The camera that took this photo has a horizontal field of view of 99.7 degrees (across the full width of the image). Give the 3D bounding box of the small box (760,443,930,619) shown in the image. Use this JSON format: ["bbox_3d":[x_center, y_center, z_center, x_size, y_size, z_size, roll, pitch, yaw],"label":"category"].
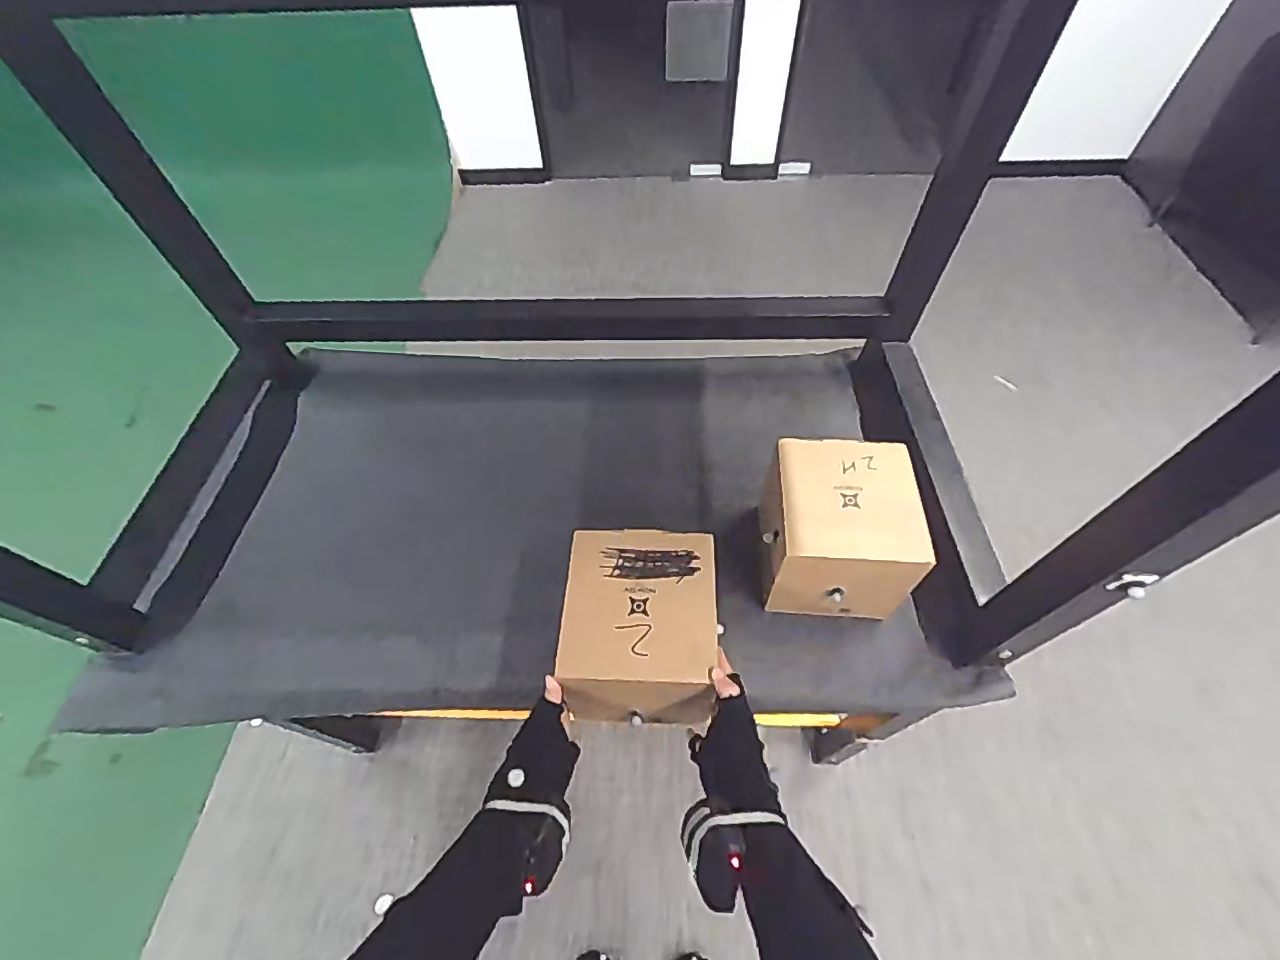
[{"bbox_3d":[0.255,0.072,0.720,0.168,0.176,0.179,3,54,4],"label":"small box"}]
